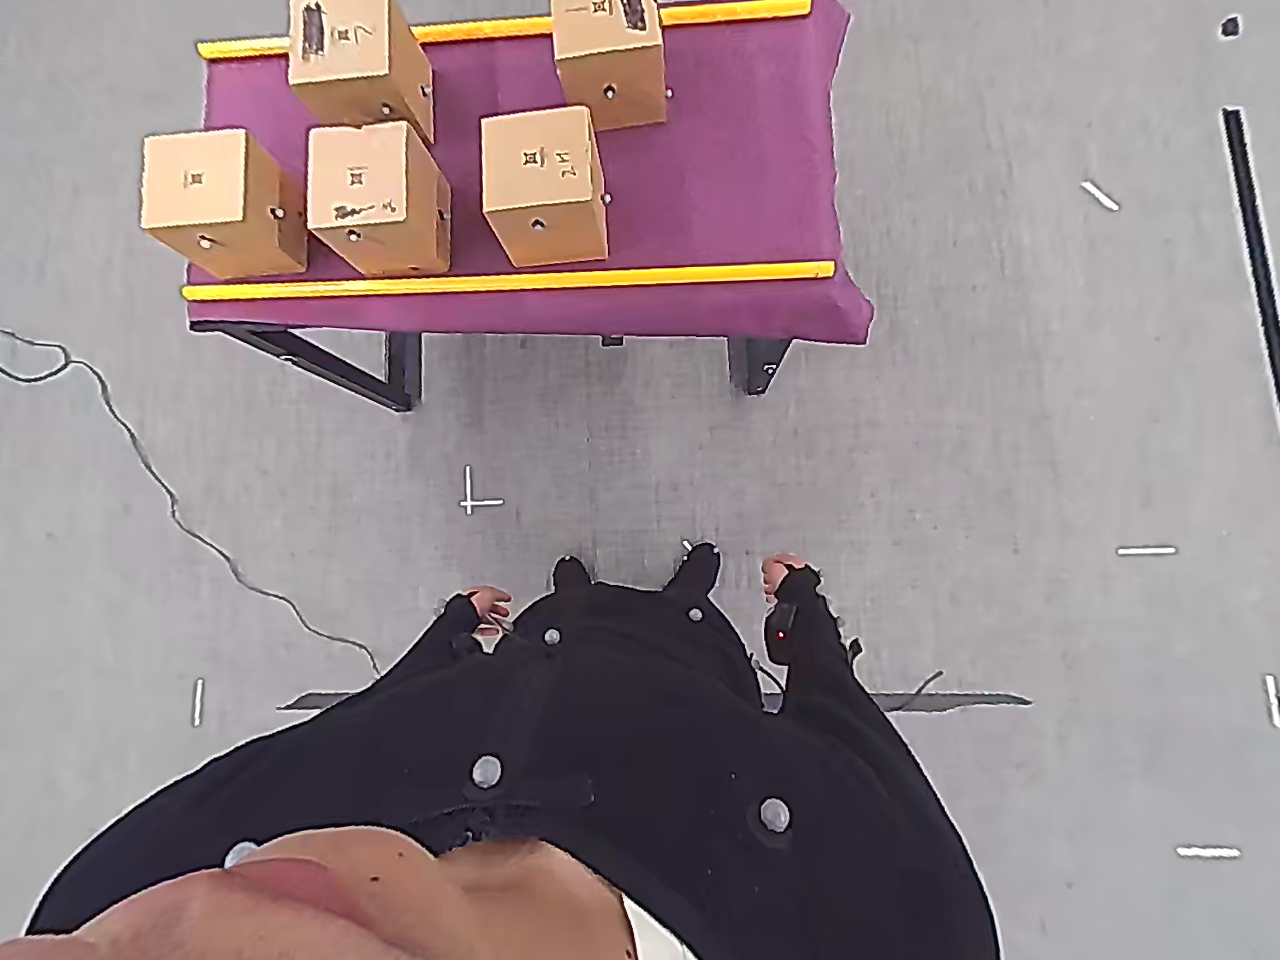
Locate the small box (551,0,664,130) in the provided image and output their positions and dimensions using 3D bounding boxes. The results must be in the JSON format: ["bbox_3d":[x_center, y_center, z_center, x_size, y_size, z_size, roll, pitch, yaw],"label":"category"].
[{"bbox_3d":[-0.050,-0.746,0.938,0.179,0.176,0.168,-5,84,5],"label":"small box"}]

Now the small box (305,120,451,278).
[{"bbox_3d":[-0.442,-0.476,0.937,0.168,0.176,0.179,-2,83,6],"label":"small box"}]

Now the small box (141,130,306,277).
[{"bbox_3d":[-0.722,-0.480,0.960,0.179,0.176,0.168,-4,83,3],"label":"small box"}]

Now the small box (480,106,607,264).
[{"bbox_3d":[-0.156,-0.486,0.916,0.179,0.176,0.168,-4,82,4],"label":"small box"}]
